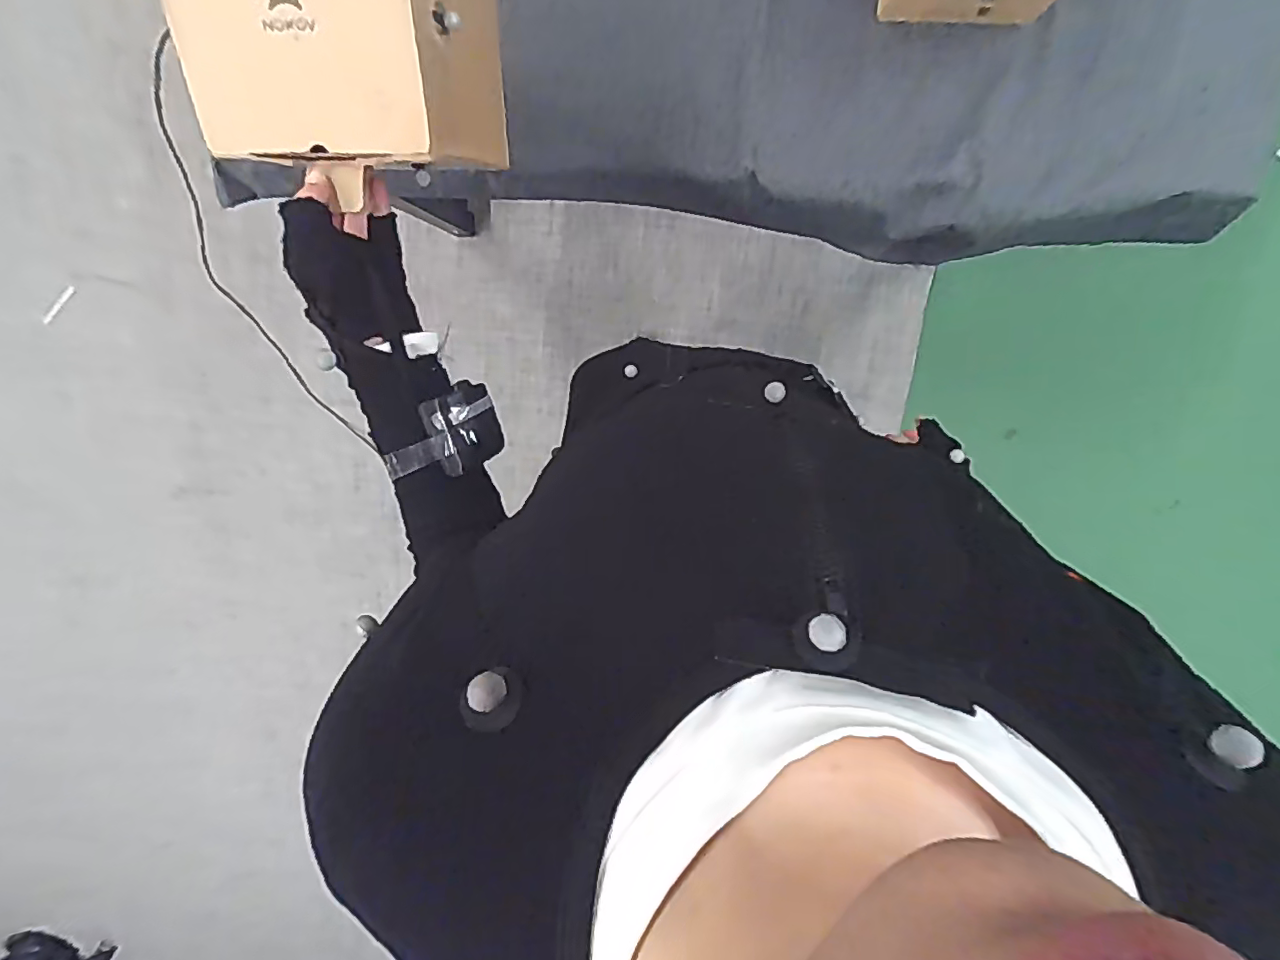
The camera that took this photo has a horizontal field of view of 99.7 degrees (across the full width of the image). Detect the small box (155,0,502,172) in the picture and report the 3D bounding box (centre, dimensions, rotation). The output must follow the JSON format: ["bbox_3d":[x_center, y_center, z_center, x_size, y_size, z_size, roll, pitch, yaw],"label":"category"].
[{"bbox_3d":[-0.212,-0.331,0.401,0.168,0.176,0.179,2,117,4],"label":"small box"}]
